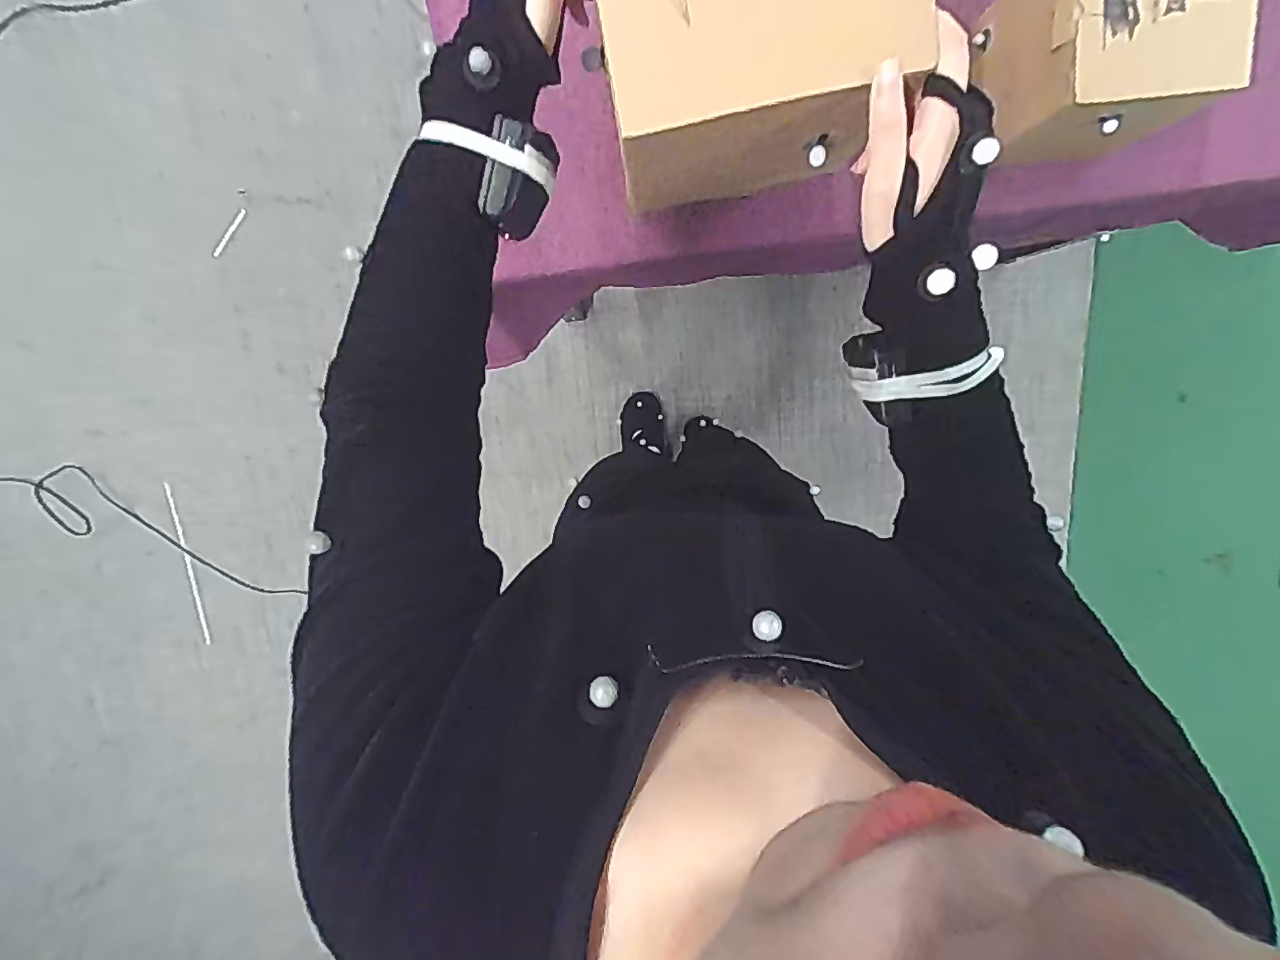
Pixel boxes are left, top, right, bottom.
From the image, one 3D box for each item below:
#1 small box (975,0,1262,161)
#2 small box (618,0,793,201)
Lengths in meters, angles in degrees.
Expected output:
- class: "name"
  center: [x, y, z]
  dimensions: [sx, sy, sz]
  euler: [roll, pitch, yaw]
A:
- class: "small box"
  center: [0.497, -0.469, 0.586]
  dimensions: [0.179, 0.176, 0.168]
  euler: [-5, 101, 0]
- class: "small box"
  center: [0.062, -0.431, 0.592]
  dimensions: [0.168, 0.176, 0.179]
  euler: [-4, 101, 1]
